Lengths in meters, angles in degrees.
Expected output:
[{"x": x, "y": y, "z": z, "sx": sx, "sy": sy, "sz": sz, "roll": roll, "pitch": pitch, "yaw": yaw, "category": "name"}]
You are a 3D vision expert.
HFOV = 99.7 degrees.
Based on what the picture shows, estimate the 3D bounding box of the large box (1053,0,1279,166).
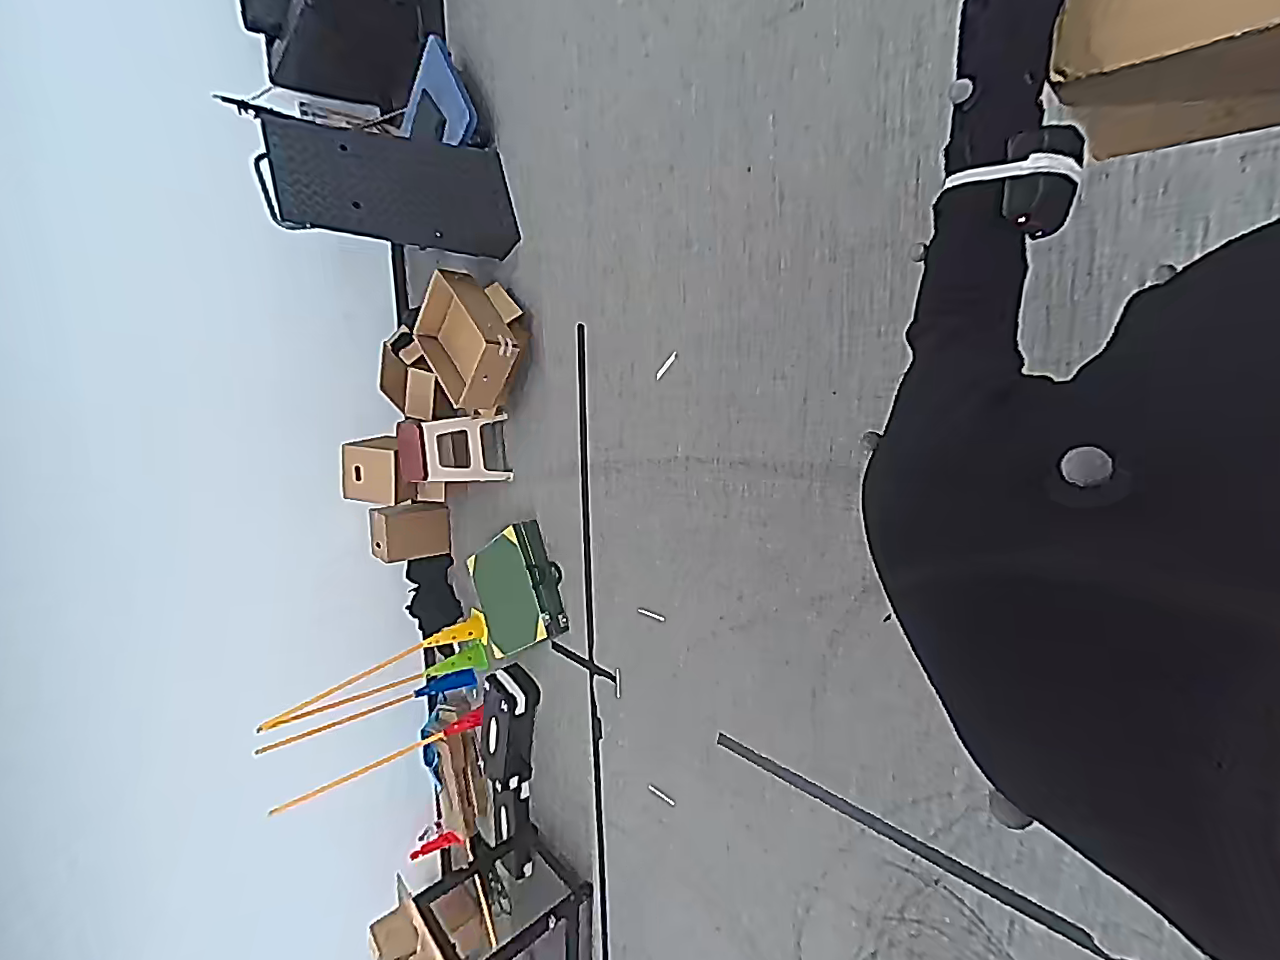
[{"x": 0.548, "y": -0.447, "z": 0.347, "sx": 0.408, "sy": 0.320, "sz": 0.320, "roll": 11, "pitch": 110, "yaw": 42, "category": "large box"}]
